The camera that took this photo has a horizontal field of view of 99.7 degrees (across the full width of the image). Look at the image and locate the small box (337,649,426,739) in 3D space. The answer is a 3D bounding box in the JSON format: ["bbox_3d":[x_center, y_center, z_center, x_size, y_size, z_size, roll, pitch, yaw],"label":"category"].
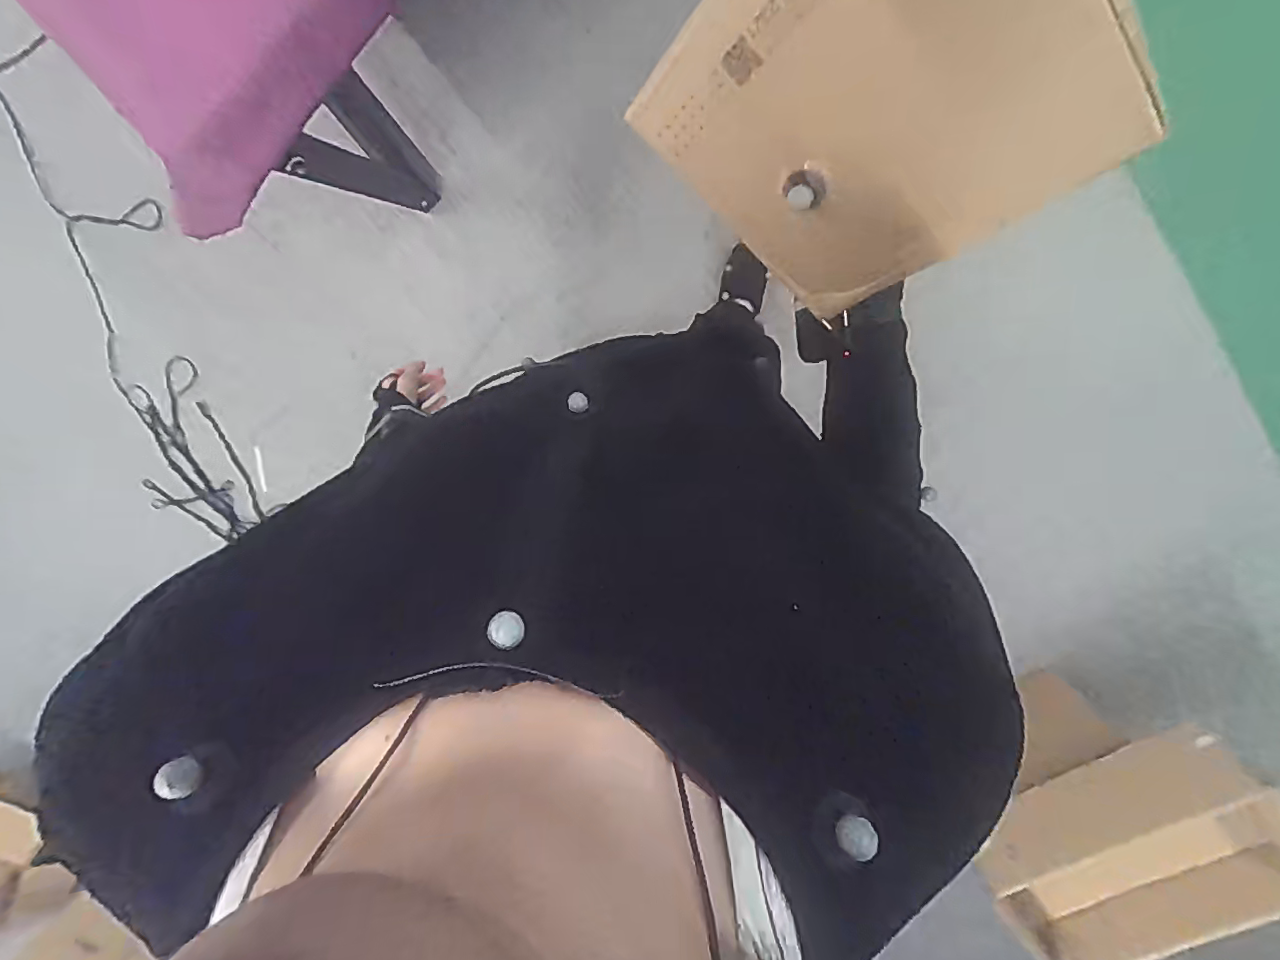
[{"bbox_3d":[-0.820,0.681,1.739,0.168,0.176,0.179,42,107,-11],"label":"small box"}]

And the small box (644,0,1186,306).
[{"bbox_3d":[0.127,-0.236,0.277,0.176,0.179,0.168,35,149,-23],"label":"small box"}]
